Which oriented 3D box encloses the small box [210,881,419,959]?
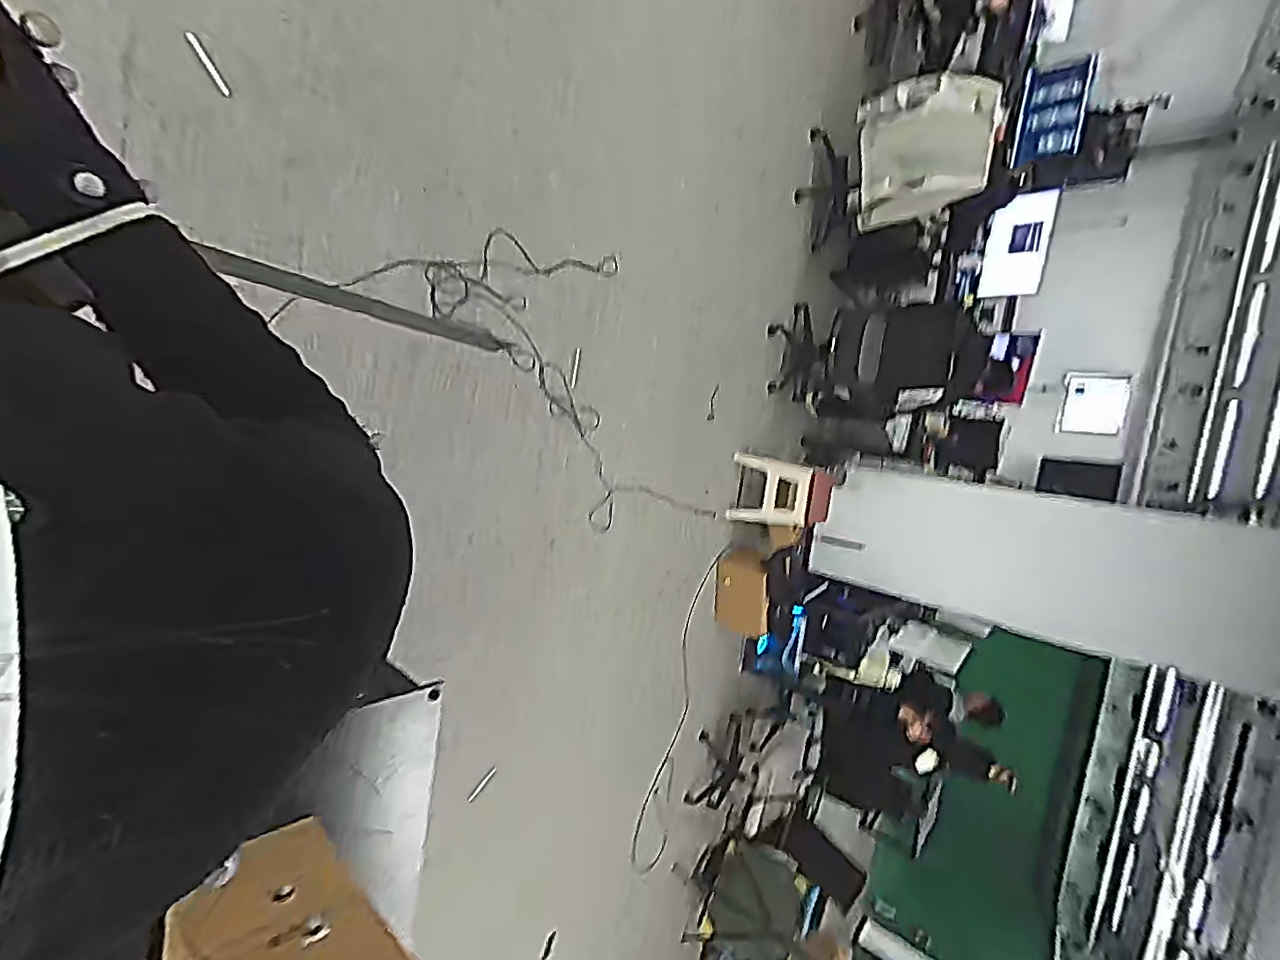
[{"bbox_3d":[-0.368,0.611,0.602,0.168,0.176,0.179,3,96,-53],"label":"small box"}]

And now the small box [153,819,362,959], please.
[{"bbox_3d":[-0.495,0.588,0.701,0.179,0.176,0.168,5,95,-51],"label":"small box"}]
